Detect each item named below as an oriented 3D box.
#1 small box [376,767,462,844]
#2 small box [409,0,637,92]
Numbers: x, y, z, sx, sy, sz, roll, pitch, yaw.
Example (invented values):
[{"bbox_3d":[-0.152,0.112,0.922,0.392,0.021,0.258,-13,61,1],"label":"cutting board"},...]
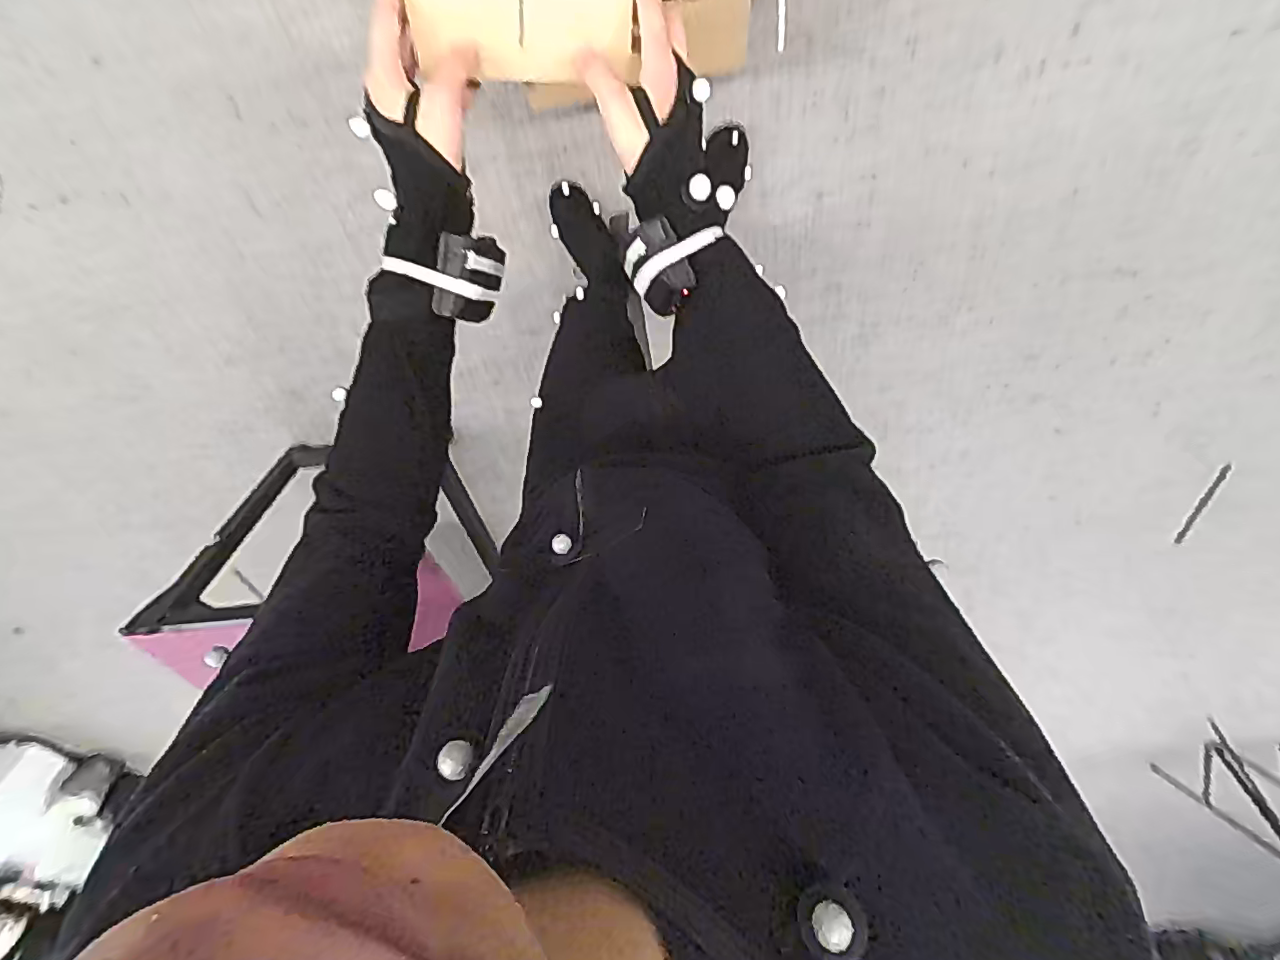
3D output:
[{"bbox_3d":[-0.683,1.024,1.706,0.179,0.176,0.168,-13,129,13],"label":"small box"},{"bbox_3d":[-0.091,-0.424,0.426,0.168,0.176,0.179,-3,132,-6],"label":"small box"}]
